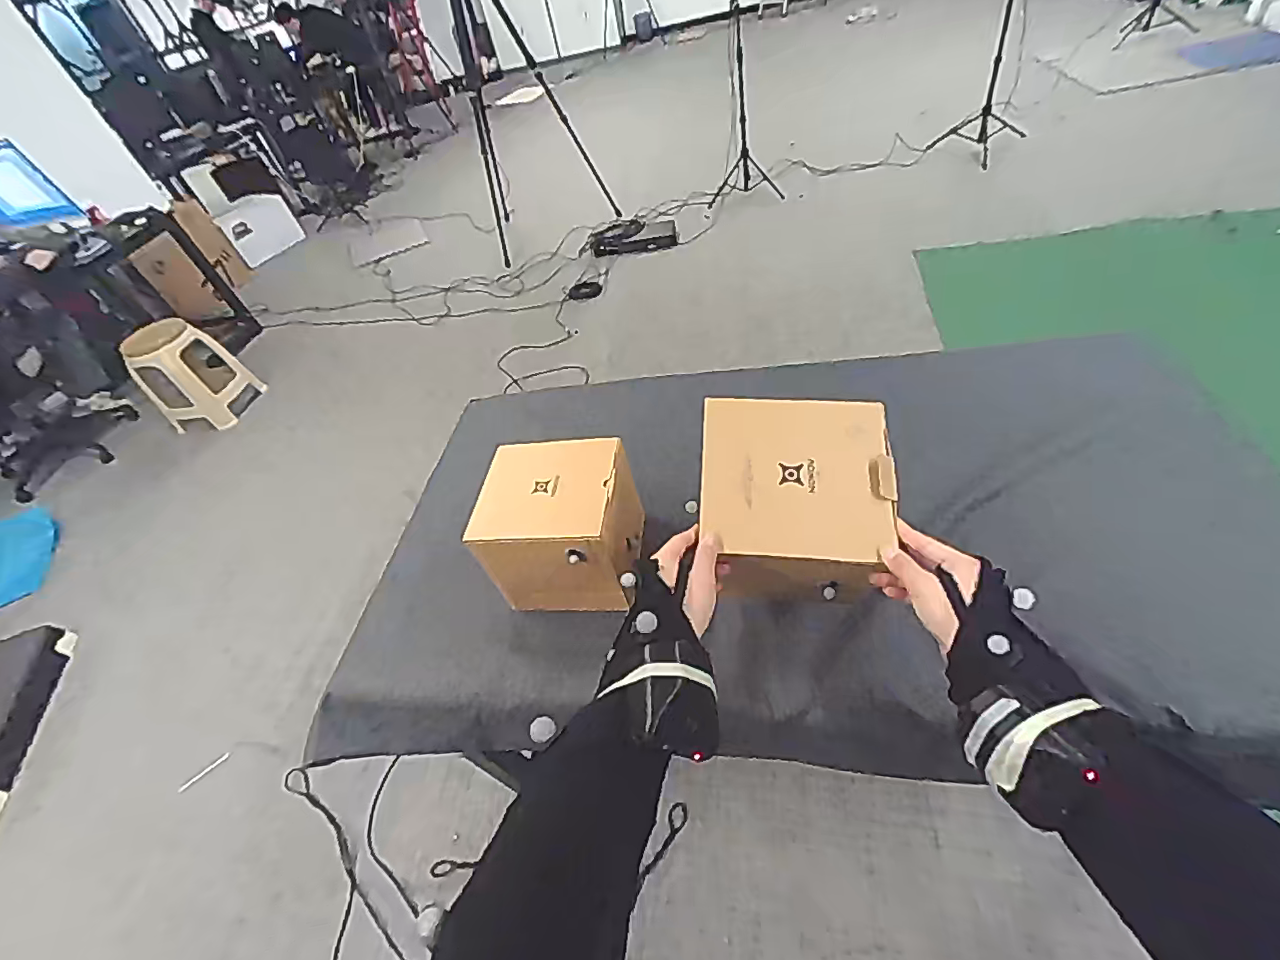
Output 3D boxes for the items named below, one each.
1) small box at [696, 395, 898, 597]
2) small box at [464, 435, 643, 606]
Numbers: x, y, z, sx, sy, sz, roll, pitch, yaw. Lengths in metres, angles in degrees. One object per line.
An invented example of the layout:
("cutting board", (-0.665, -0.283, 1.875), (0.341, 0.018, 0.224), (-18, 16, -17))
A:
("small box", (0.152, 0.024, 0.580), (0.179, 0.176, 0.168), (1, 64, 8))
("small box", (-0.104, 0.060, 0.736), (0.179, 0.176, 0.168), (-3, 47, 12))
